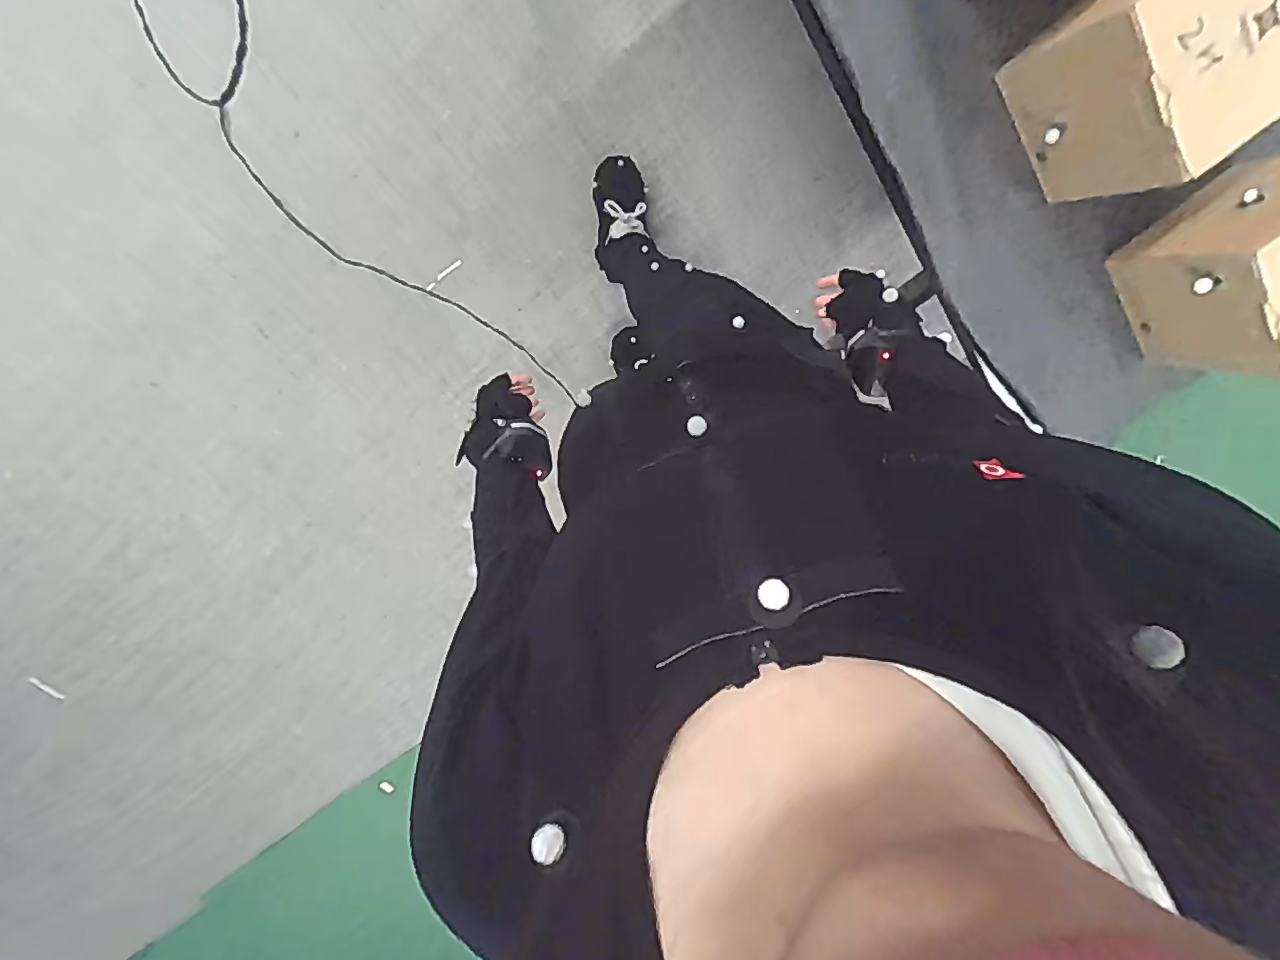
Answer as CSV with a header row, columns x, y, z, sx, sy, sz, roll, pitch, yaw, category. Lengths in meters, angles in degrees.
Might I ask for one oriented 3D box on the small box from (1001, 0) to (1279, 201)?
x,y,z,sx,sy,sz,roll,pitch,yaw,category
0.518,-0.412,0.538,0.179,0.176,0.168,-38,109,9,small box
